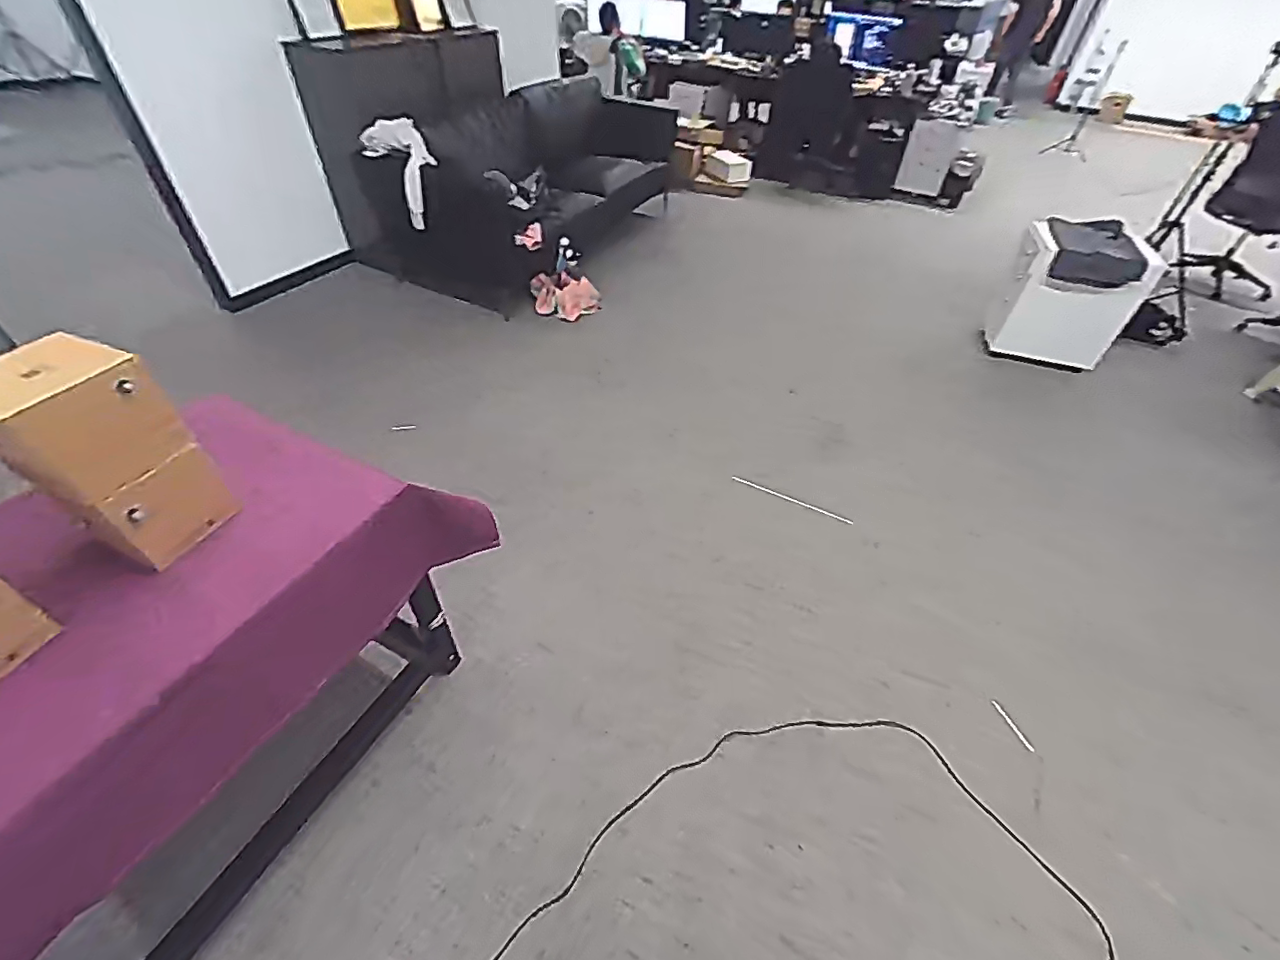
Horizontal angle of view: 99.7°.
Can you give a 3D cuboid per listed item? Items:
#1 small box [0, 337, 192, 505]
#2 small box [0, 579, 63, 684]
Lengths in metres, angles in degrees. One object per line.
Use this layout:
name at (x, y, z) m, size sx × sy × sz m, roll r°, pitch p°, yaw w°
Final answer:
small box at (-0.854, -0.089, 0.825) m, size 0.168 × 0.176 × 0.179 m, roll 17°, pitch 46°, yaw 13°
small box at (-0.995, 0.206, 0.750) m, size 0.179 × 0.176 × 0.168 m, roll 17°, pitch 47°, yaw 12°
